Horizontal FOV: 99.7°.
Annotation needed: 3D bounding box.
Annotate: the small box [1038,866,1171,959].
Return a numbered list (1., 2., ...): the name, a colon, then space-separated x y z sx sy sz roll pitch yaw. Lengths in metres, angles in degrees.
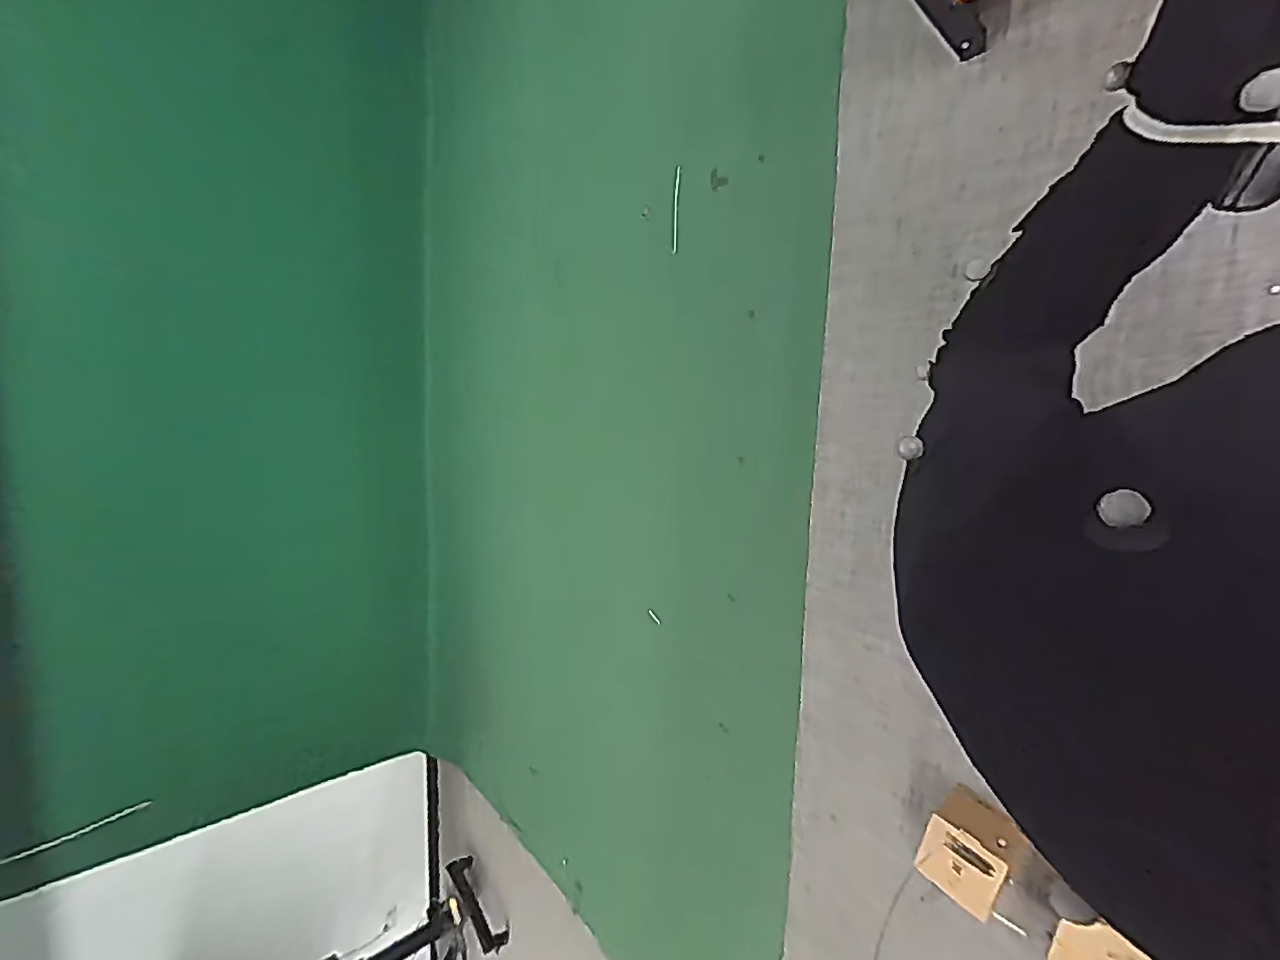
1. small box: 0.965 0.967 1.121 0.168 0.176 0.179 21 106 45
